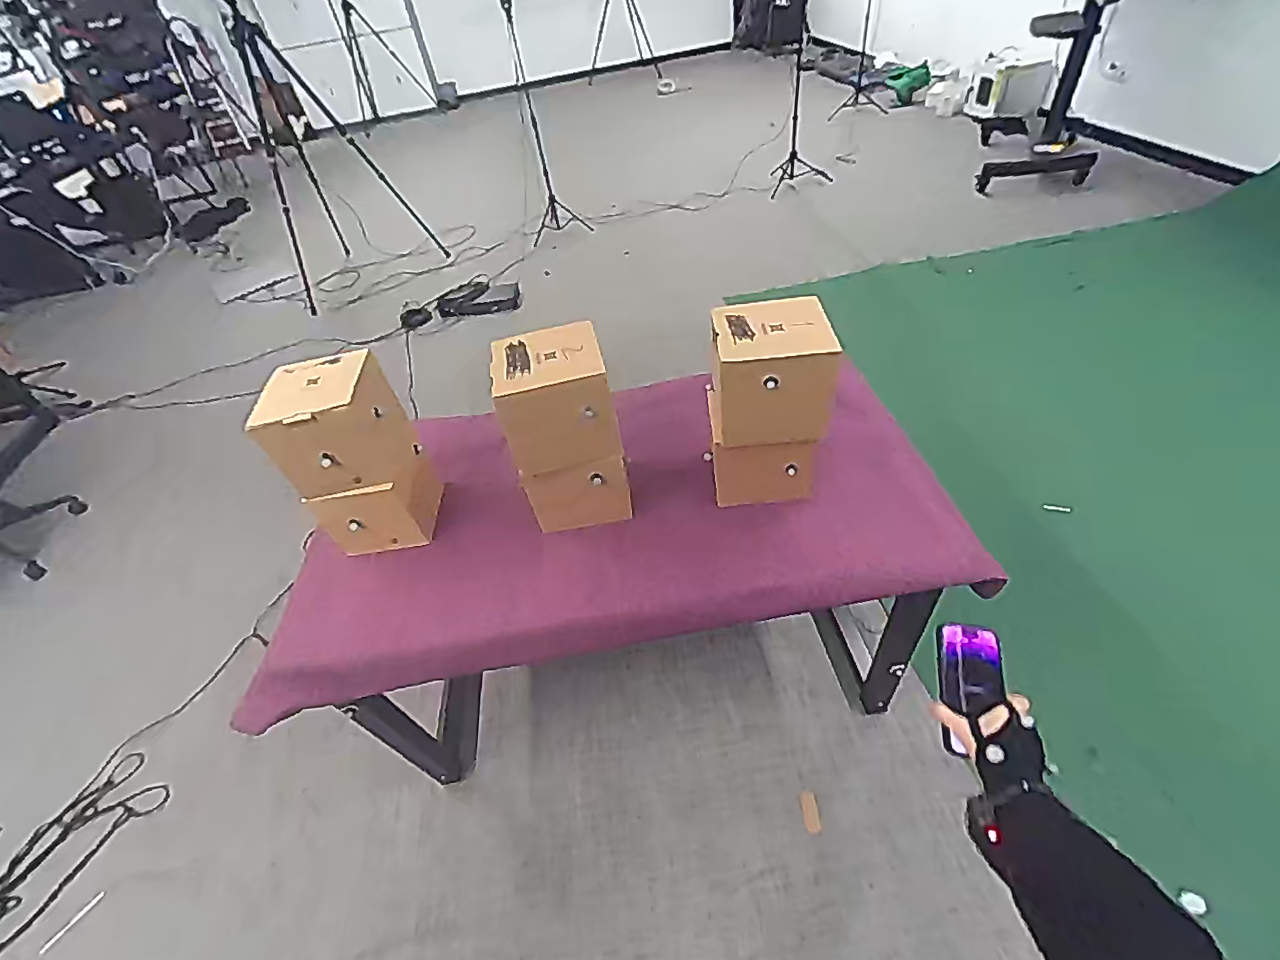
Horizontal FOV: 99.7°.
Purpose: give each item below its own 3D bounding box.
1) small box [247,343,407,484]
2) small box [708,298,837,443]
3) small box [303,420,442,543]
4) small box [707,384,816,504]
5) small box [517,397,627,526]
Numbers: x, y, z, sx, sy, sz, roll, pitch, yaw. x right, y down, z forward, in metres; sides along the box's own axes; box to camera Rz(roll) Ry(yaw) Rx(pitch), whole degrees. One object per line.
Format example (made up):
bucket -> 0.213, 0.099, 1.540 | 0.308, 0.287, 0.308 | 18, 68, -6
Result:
small box -> -0.530, -0.109, 0.948 | 0.168, 0.176, 0.179 | -11, 46, -2
small box -> 0.207, -0.174, 0.883 | 0.179, 0.176, 0.168 | -4, 46, 6
small box -> -0.508, 0.010, 1.059 | 0.168, 0.176, 0.179 | -8, 46, 2
small box -> 0.218, -0.071, 1.011 | 0.179, 0.176, 0.168 | -4, 46, 7
small box -> -0.120, -0.033, 1.031 | 0.179, 0.176, 0.168 | -9, 45, 2
